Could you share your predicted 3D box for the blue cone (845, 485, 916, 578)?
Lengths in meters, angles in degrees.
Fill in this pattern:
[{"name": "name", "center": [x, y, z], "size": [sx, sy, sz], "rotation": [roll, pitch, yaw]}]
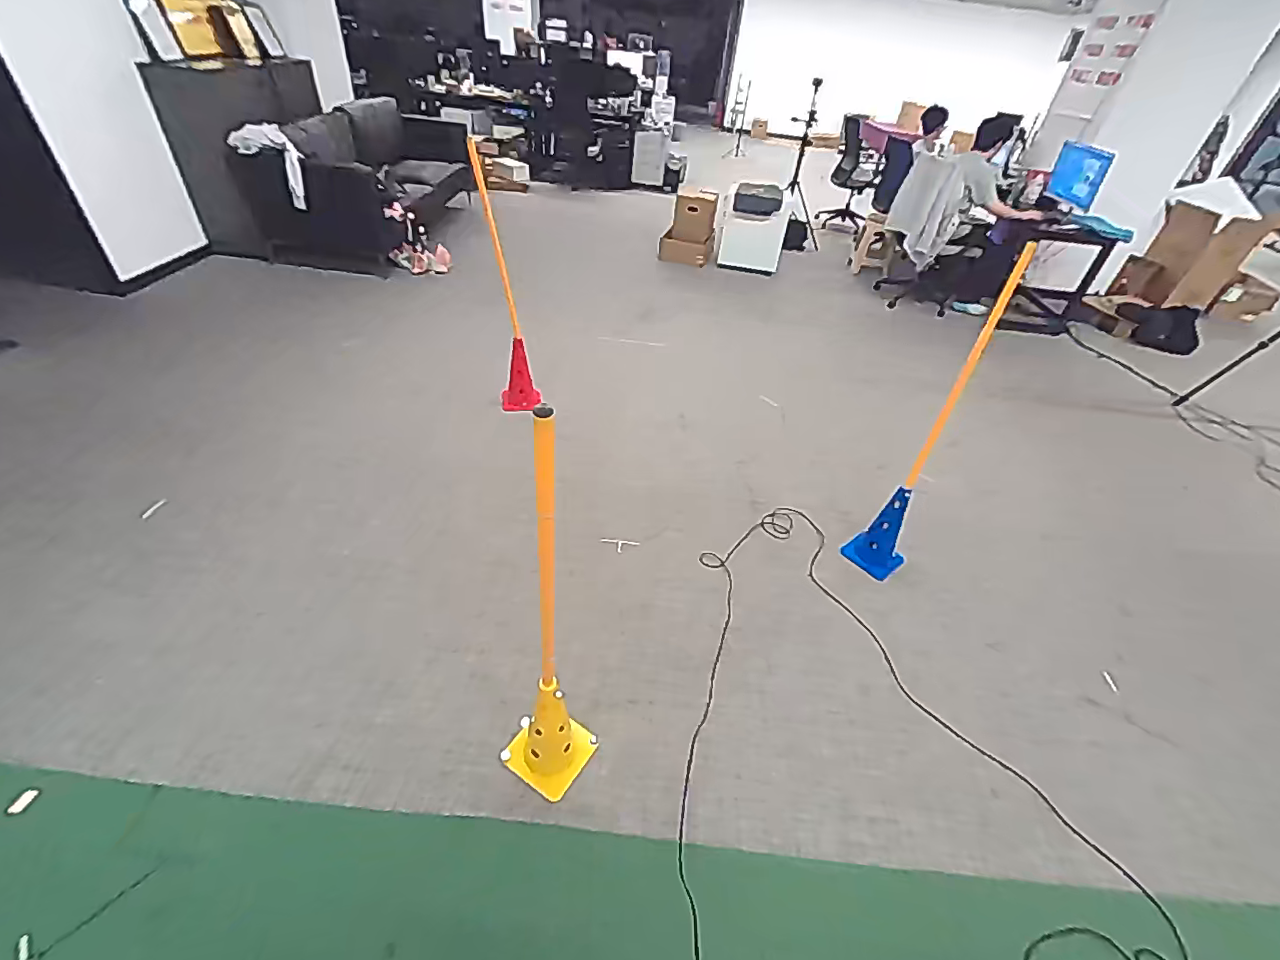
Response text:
[{"name": "blue cone", "center": [0.953, 0.170, 2.069], "size": [0.193, 0.380, 0.192], "rotation": [-24, 48, -36]}]
